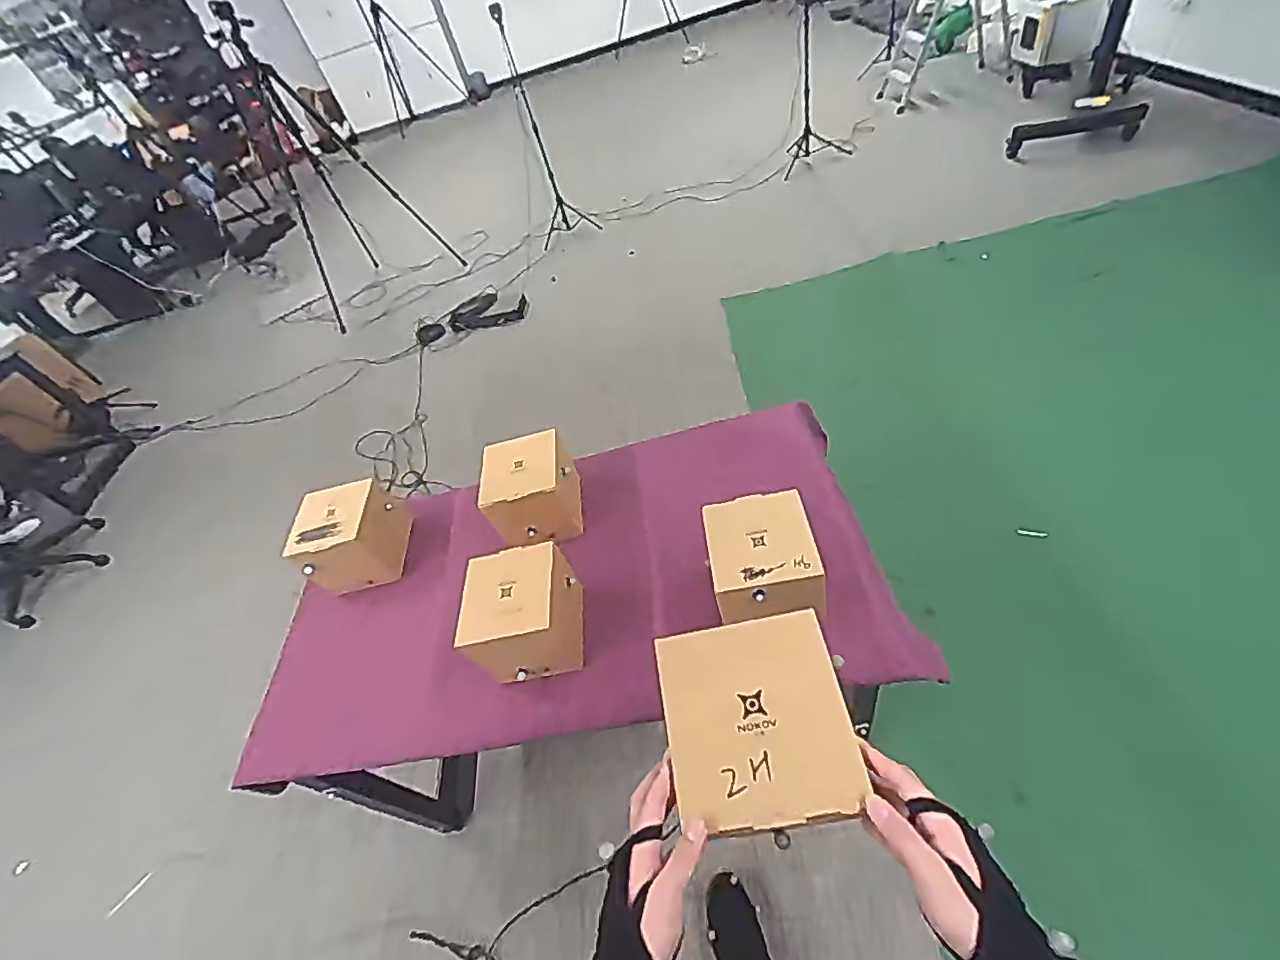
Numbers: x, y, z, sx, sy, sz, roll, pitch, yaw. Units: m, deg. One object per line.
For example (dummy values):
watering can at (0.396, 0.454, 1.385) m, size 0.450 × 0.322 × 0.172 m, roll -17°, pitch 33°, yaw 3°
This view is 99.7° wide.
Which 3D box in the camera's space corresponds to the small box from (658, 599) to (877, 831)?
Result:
small box at (0.121, 0.247, 0.556) m, size 0.168 × 0.176 × 0.179 m, roll -13°, pitch 55°, yaw 7°

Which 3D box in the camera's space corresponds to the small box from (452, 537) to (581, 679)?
small box at (-0.208, 0.231, 0.965) m, size 0.168 × 0.176 × 0.179 m, roll -12°, pitch 47°, yaw 8°

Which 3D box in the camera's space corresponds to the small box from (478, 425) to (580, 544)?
small box at (-0.231, 0.012, 1.166) m, size 0.168 × 0.176 × 0.179 m, roll -13°, pitch 48°, yaw 5°

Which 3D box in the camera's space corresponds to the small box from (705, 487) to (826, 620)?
small box at (0.209, 0.142, 0.912) m, size 0.168 × 0.176 × 0.179 m, roll -11°, pitch 45°, yaw 9°
